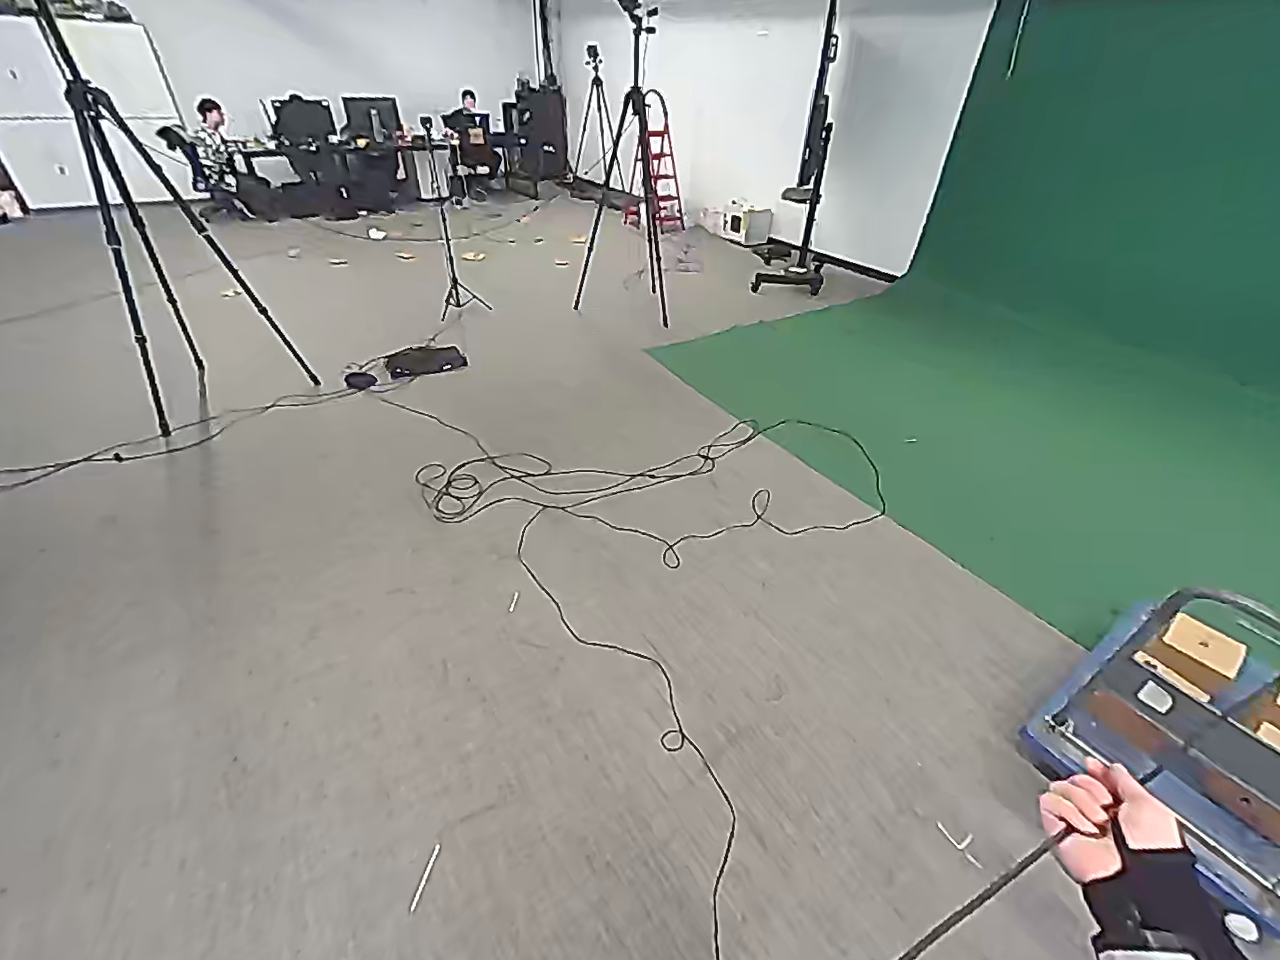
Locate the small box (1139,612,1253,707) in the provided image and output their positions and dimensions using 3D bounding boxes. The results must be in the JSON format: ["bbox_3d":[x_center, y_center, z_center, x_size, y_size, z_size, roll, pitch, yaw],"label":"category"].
[{"bbox_3d":[1.652,0.540,1.617,0.179,0.176,0.168,-25,45,-30],"label":"small box"}]

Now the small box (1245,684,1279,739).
[{"bbox_3d":[1.809,0.661,1.462,0.179,0.176,0.168,-26,44,-29],"label":"small box"}]

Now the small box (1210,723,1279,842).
[{"bbox_3d":[1.586,0.752,1.339,0.179,0.176,0.168,-22,43,-26],"label":"small box"}]
